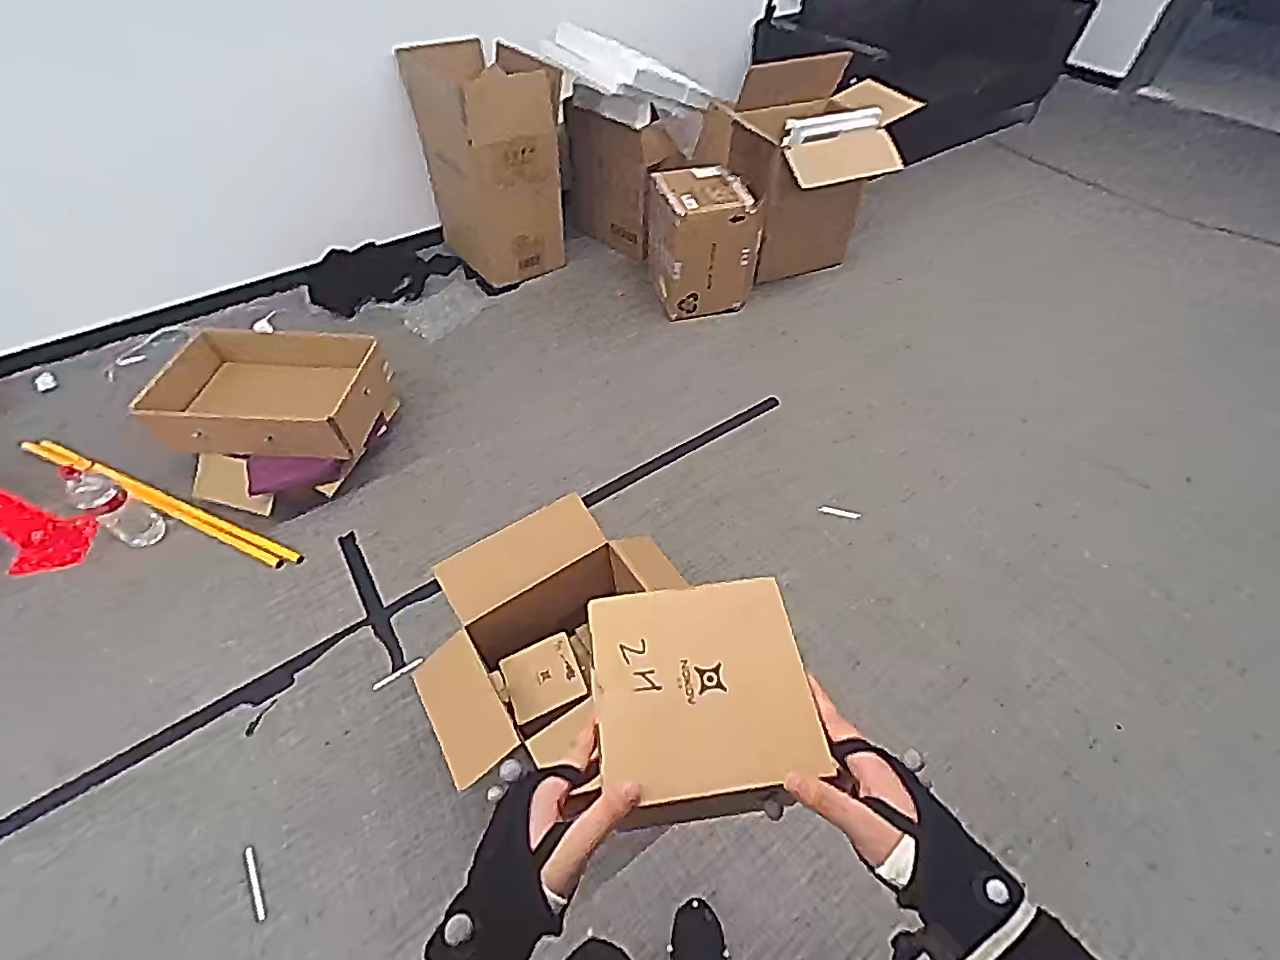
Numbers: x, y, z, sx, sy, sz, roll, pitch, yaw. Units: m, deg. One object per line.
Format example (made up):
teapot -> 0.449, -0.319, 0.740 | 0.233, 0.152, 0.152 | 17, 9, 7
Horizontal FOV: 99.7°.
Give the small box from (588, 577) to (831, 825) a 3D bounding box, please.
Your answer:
small box -> 0.050, 0.211, 0.508 | 0.179, 0.176, 0.168 | -8, 52, -3
